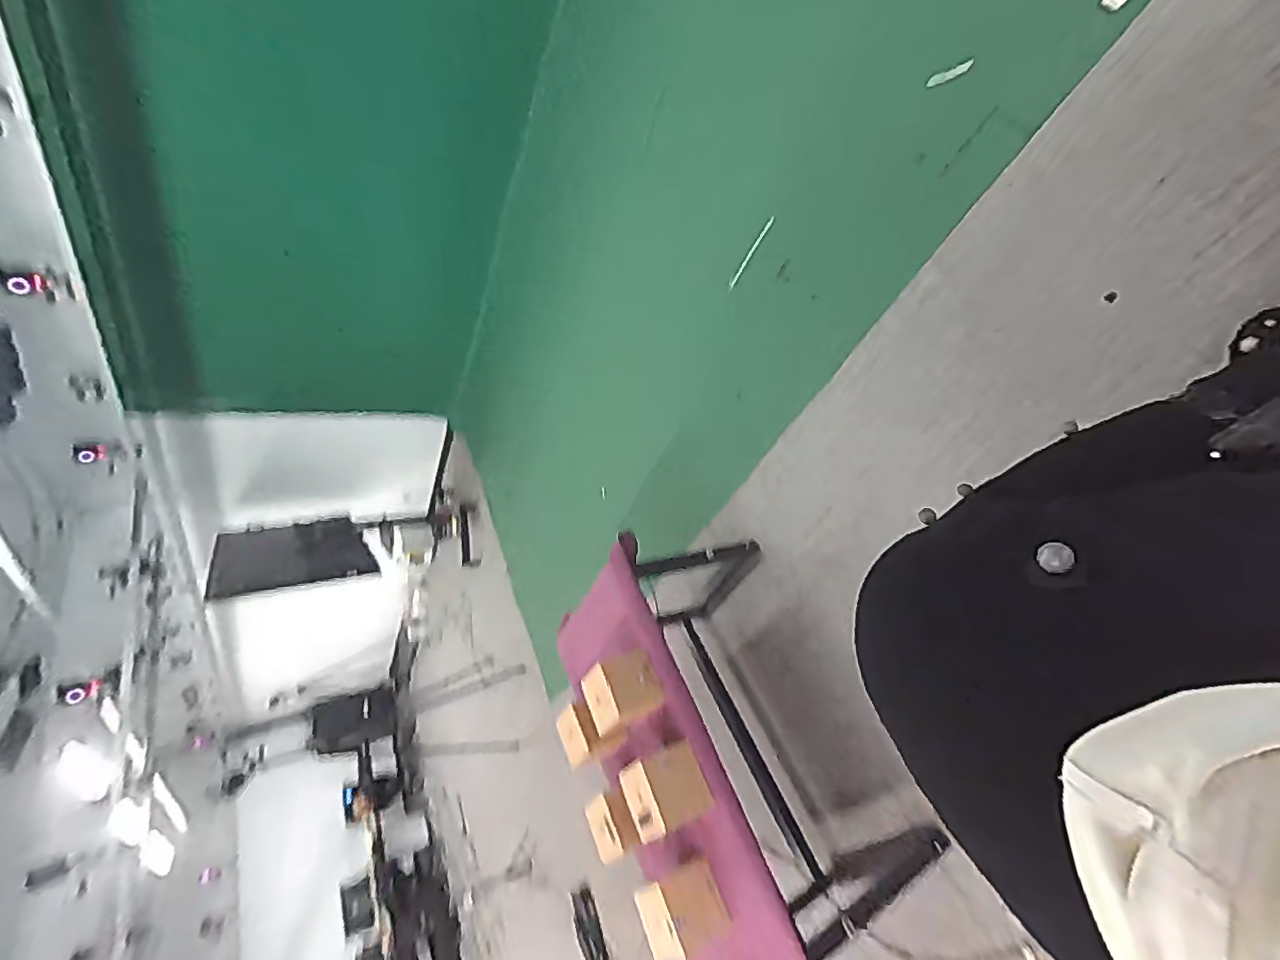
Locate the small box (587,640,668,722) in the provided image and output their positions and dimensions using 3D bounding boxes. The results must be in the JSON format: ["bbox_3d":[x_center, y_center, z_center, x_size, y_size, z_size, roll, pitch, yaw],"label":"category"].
[{"bbox_3d":[-0.040,0.621,1.680,0.168,0.176,0.179,62,140,28],"label":"small box"}]

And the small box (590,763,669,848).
[{"bbox_3d":[-0.030,1.035,1.726,0.168,0.176,0.179,61,139,31],"label":"small box"}]

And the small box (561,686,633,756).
[{"bbox_3d":[-0.147,0.817,1.868,0.168,0.176,0.179,60,137,30],"label":"small box"}]

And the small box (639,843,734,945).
[{"bbox_3d":[0.130,1.151,1.506,0.168,0.176,0.179,61,139,29],"label":"small box"}]
